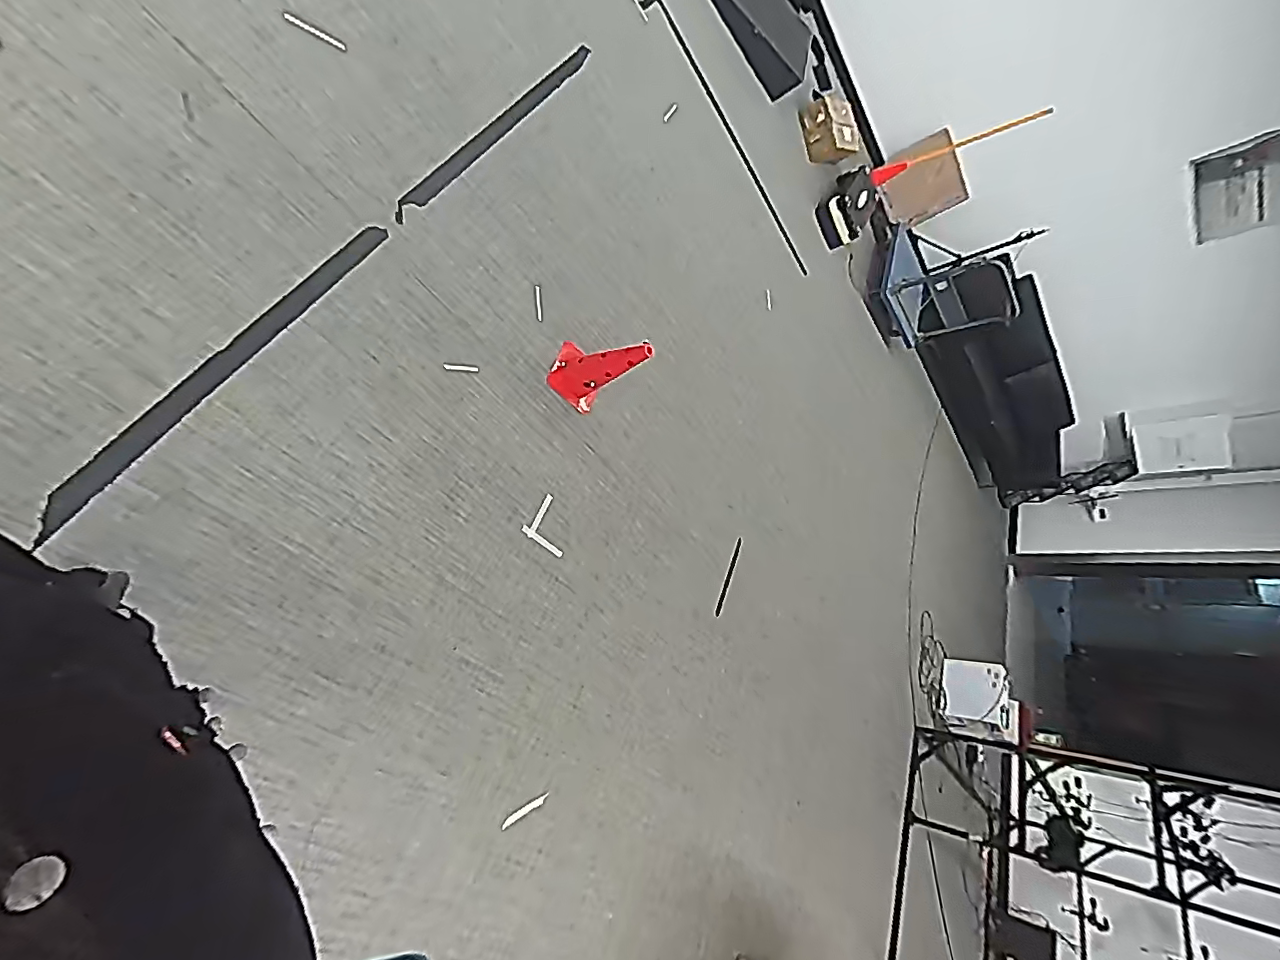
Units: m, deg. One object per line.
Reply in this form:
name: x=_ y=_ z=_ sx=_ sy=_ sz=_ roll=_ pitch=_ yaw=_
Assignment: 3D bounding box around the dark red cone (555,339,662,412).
dark red cone: x=-0.079 y=-0.374 z=1.741 sx=0.201 sy=0.394 sz=0.202 roll=38 pitch=58 yaw=-35
